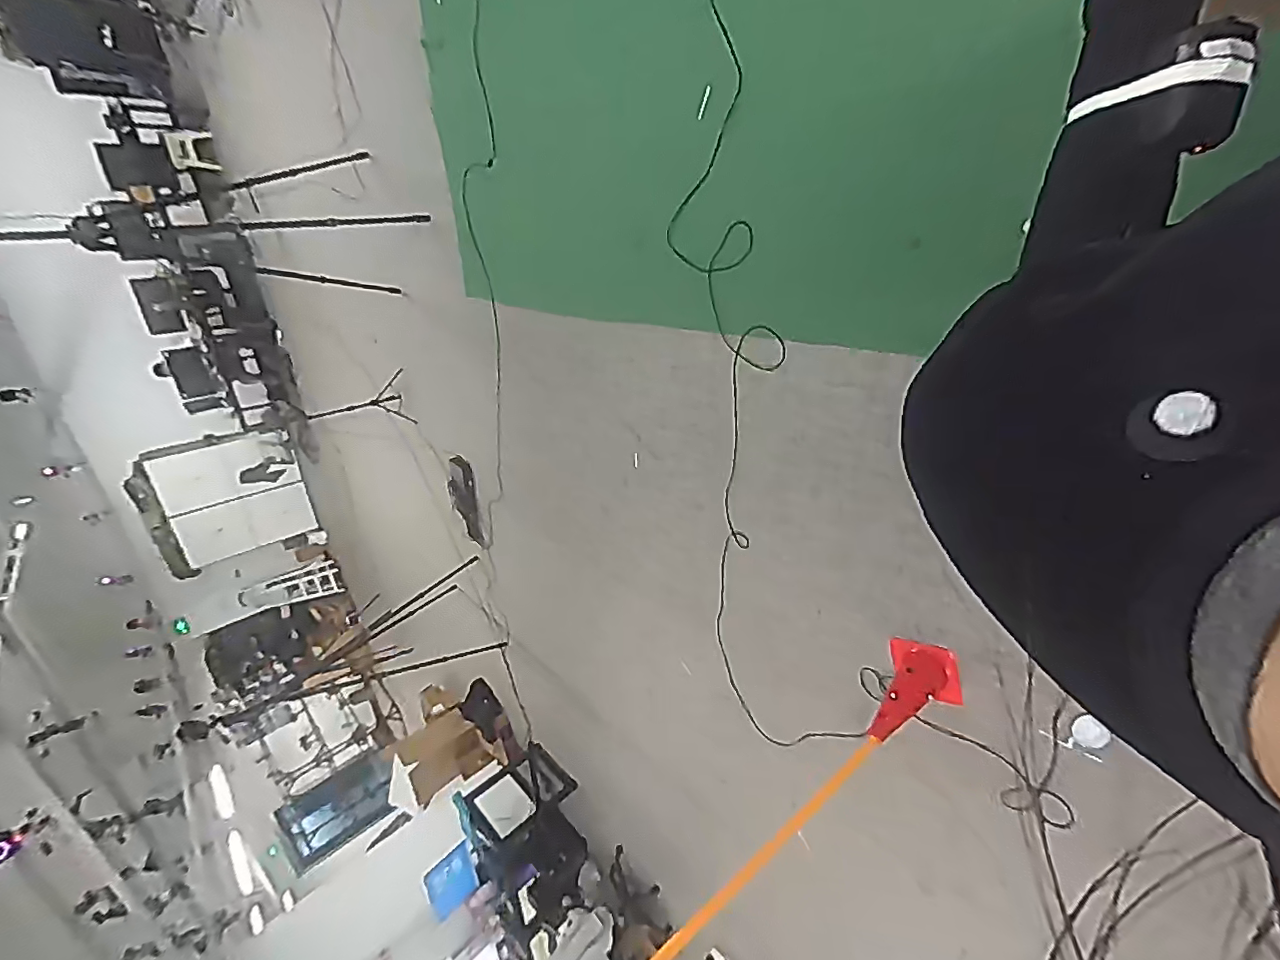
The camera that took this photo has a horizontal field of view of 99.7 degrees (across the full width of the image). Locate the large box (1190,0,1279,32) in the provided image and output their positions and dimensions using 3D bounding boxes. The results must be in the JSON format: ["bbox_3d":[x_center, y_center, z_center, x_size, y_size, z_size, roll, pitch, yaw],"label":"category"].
[{"bbox_3d":[0.555,-0.481,0.235,0.408,0.320,0.320,9,118,40],"label":"large box"}]
